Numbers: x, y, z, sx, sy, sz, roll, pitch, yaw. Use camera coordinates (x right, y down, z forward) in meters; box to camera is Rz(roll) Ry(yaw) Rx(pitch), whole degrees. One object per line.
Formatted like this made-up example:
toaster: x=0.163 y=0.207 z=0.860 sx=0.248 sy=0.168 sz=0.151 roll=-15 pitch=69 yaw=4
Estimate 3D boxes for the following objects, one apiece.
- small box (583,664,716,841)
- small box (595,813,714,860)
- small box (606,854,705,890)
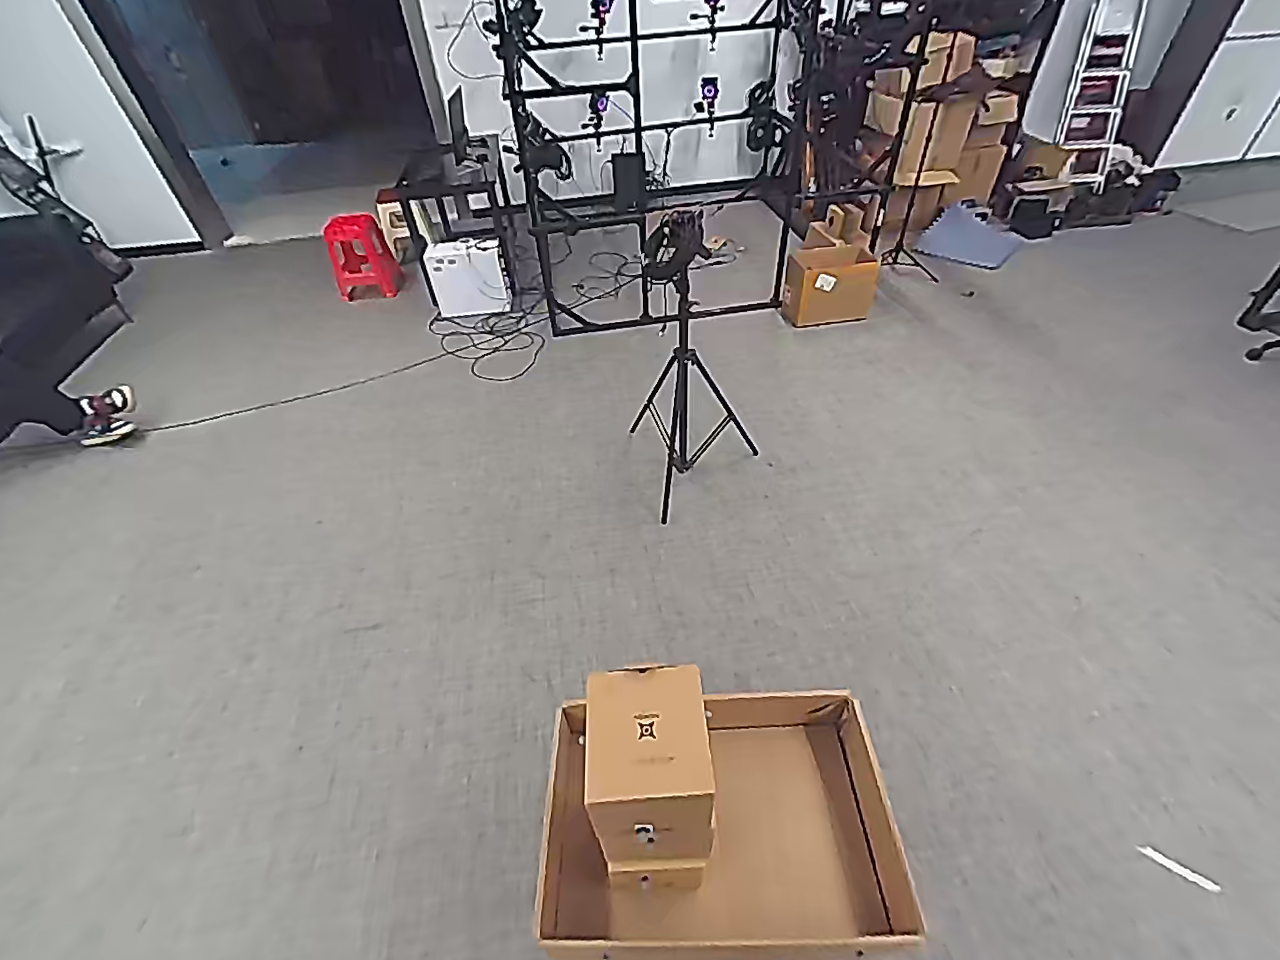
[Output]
small box: x=0.012 y=0.389 z=0.774 sx=0.168 sy=0.176 sz=0.179 roll=-4 pitch=42 yaw=0
small box: x=0.024 y=0.507 z=0.887 sx=0.179 sy=0.176 sz=0.168 roll=-2 pitch=43 yaw=1
small box: x=0.028 y=0.633 z=0.993 sx=0.168 sy=0.176 sz=0.179 roll=-3 pitch=43 yaw=0
